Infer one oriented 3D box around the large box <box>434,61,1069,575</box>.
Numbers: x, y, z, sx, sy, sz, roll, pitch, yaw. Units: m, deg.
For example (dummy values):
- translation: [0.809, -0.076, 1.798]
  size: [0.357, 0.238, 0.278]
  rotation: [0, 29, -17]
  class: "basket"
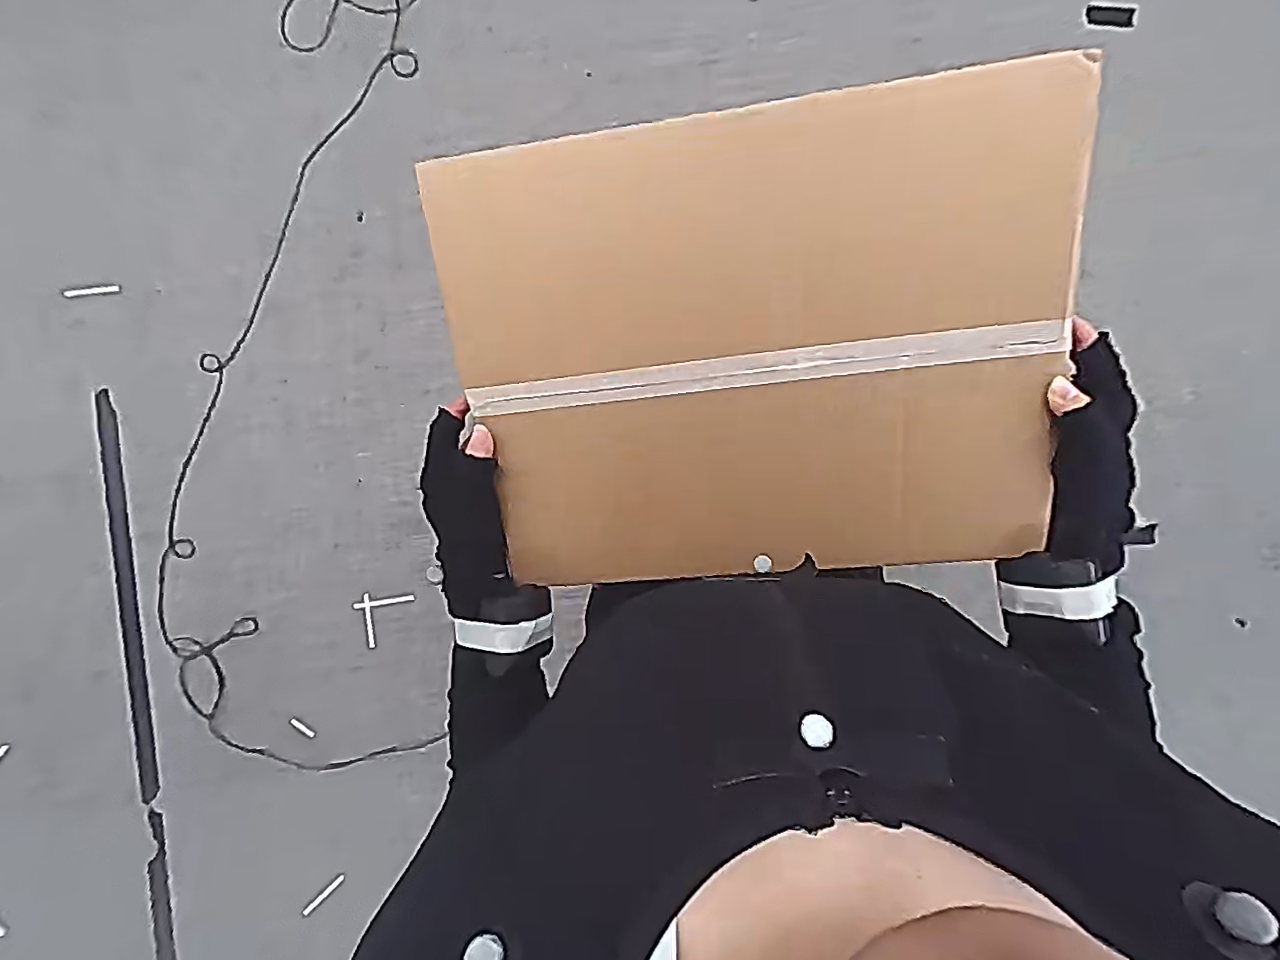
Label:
- translation: [0.086, -0.130, 0.525]
  size: [0.408, 0.320, 0.320]
  rotation: [-5, 110, 7]
  class: "large box"
